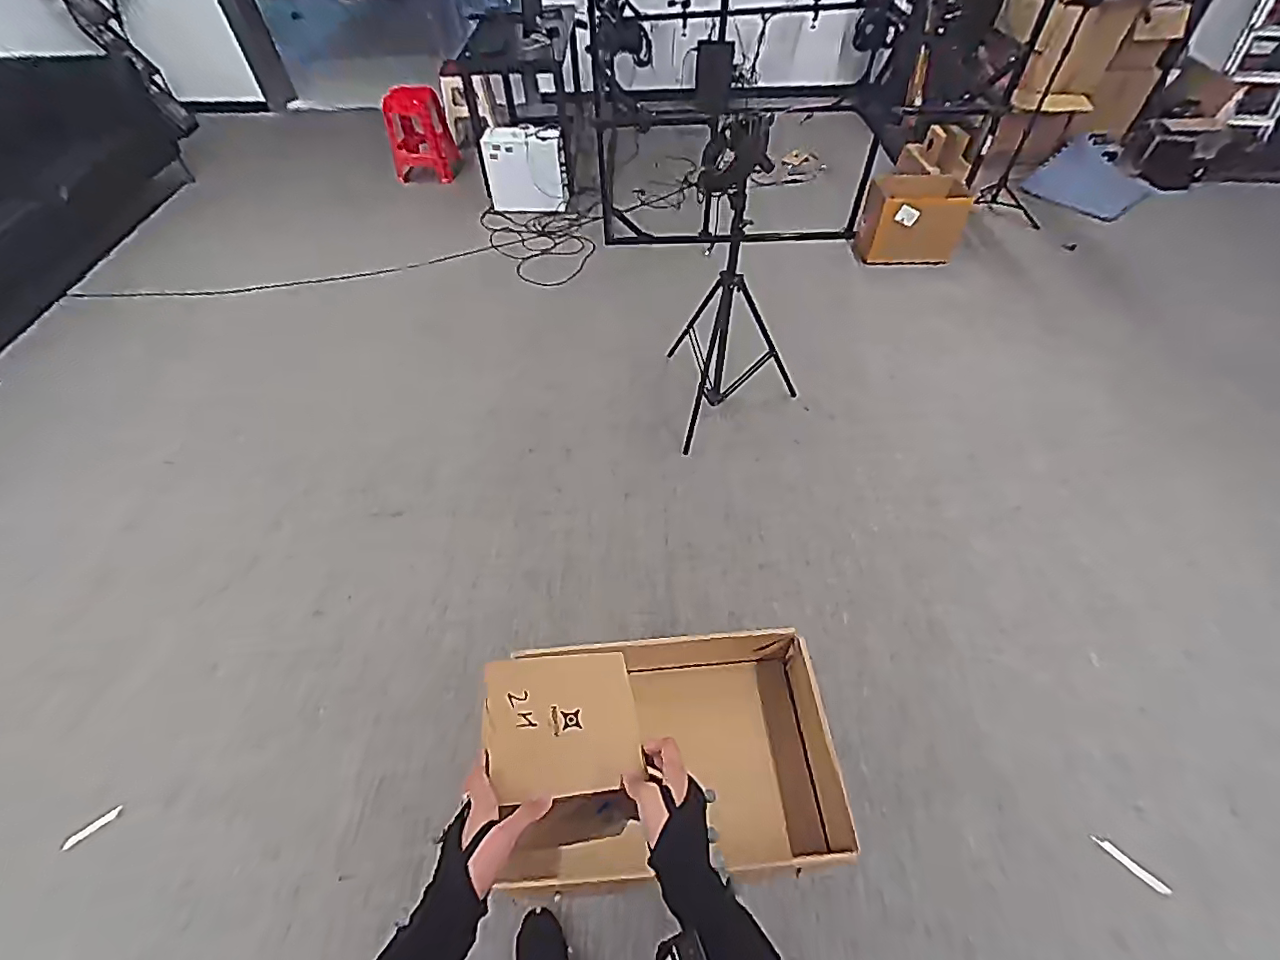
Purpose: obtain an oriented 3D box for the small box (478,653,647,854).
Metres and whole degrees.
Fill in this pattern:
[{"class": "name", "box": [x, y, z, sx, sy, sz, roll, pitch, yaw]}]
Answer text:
[{"class": "small box", "box": [-0.107, 0.336, 0.673, 0.179, 0.176, 0.168, 1, 41, -17]}]
